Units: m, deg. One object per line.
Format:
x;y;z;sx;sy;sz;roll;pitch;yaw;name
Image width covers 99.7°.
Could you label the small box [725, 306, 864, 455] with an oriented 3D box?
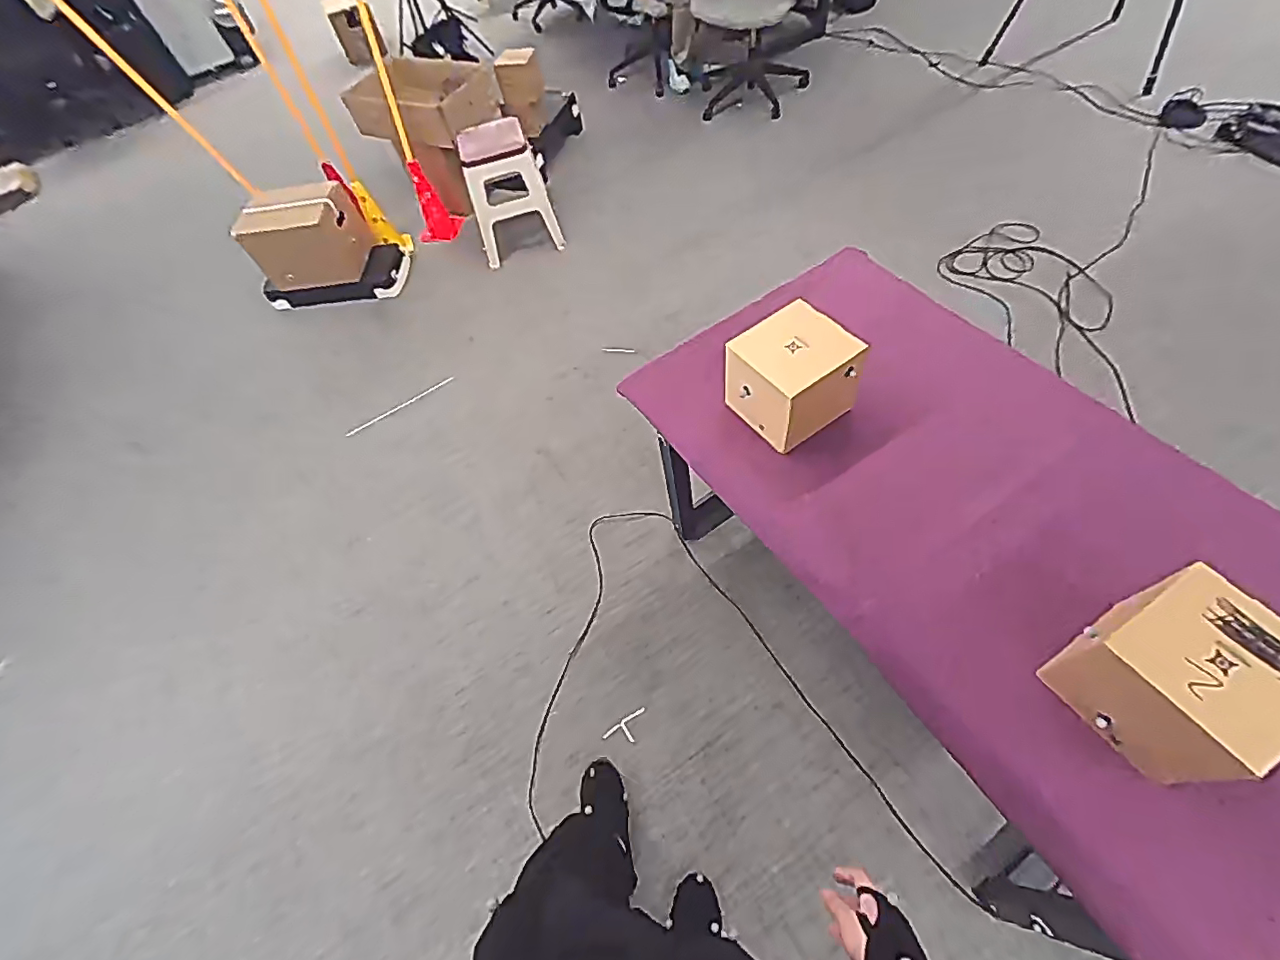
0.274;-0.177;0.993;0.179;0.176;0.168;-33;59;-14;small box
